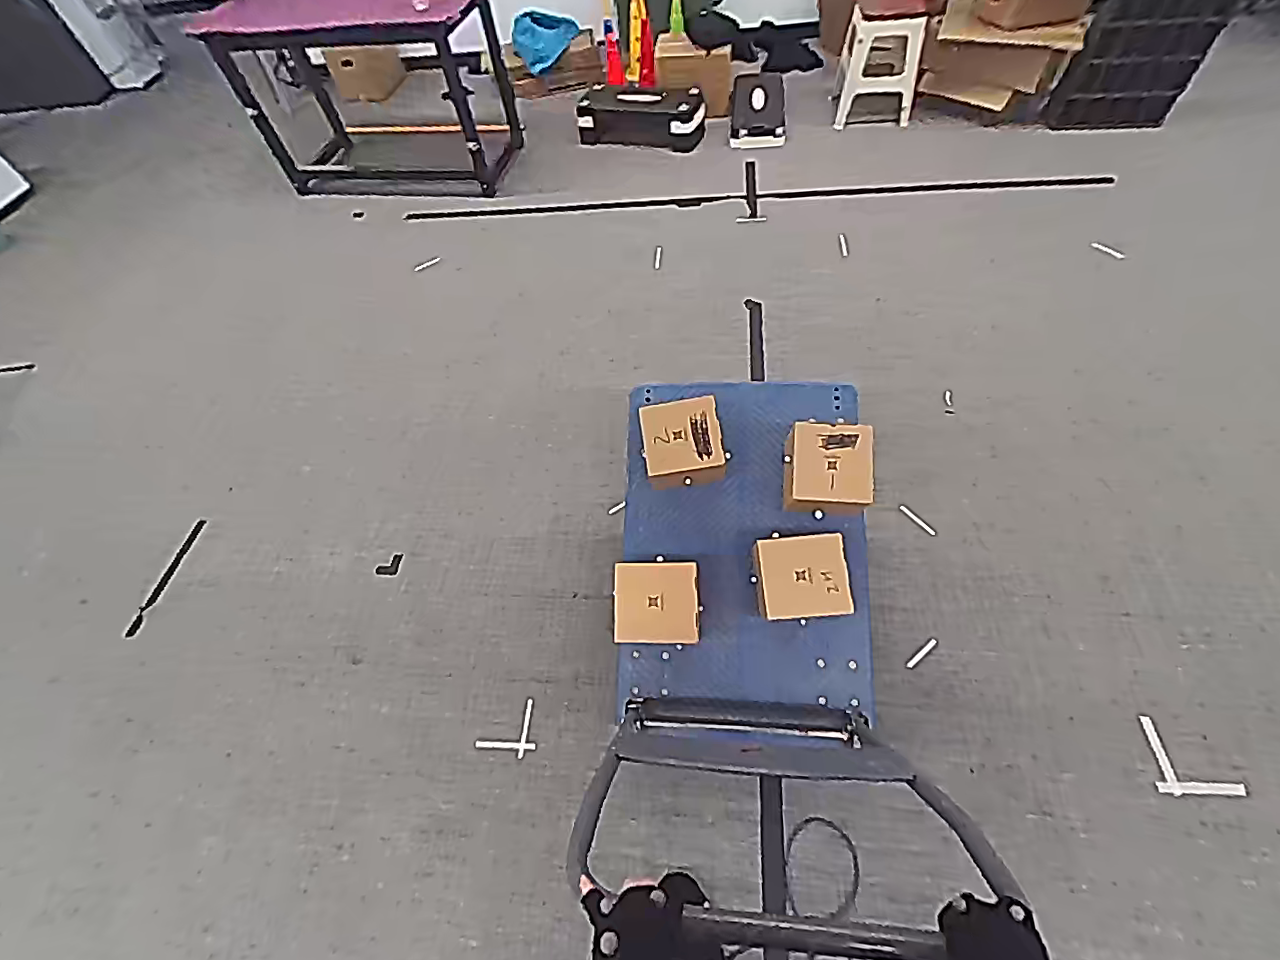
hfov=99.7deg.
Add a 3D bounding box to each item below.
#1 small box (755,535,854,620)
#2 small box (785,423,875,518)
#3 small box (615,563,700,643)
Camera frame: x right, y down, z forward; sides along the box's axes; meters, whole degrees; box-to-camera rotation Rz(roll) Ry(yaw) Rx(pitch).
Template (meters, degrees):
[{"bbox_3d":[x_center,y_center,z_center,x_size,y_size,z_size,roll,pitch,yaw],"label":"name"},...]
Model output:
[{"bbox_3d":[0.349,0.218,1.184,0.179,0.176,0.168,-6,76,6],"label":"small box"},{"bbox_3d":[0.425,-0.018,1.231,0.168,0.176,0.179,3,78,9],"label":"small box"},{"bbox_3d":[0.043,0.276,1.210,0.179,0.176,0.168,-1,76,5],"label":"small box"}]
